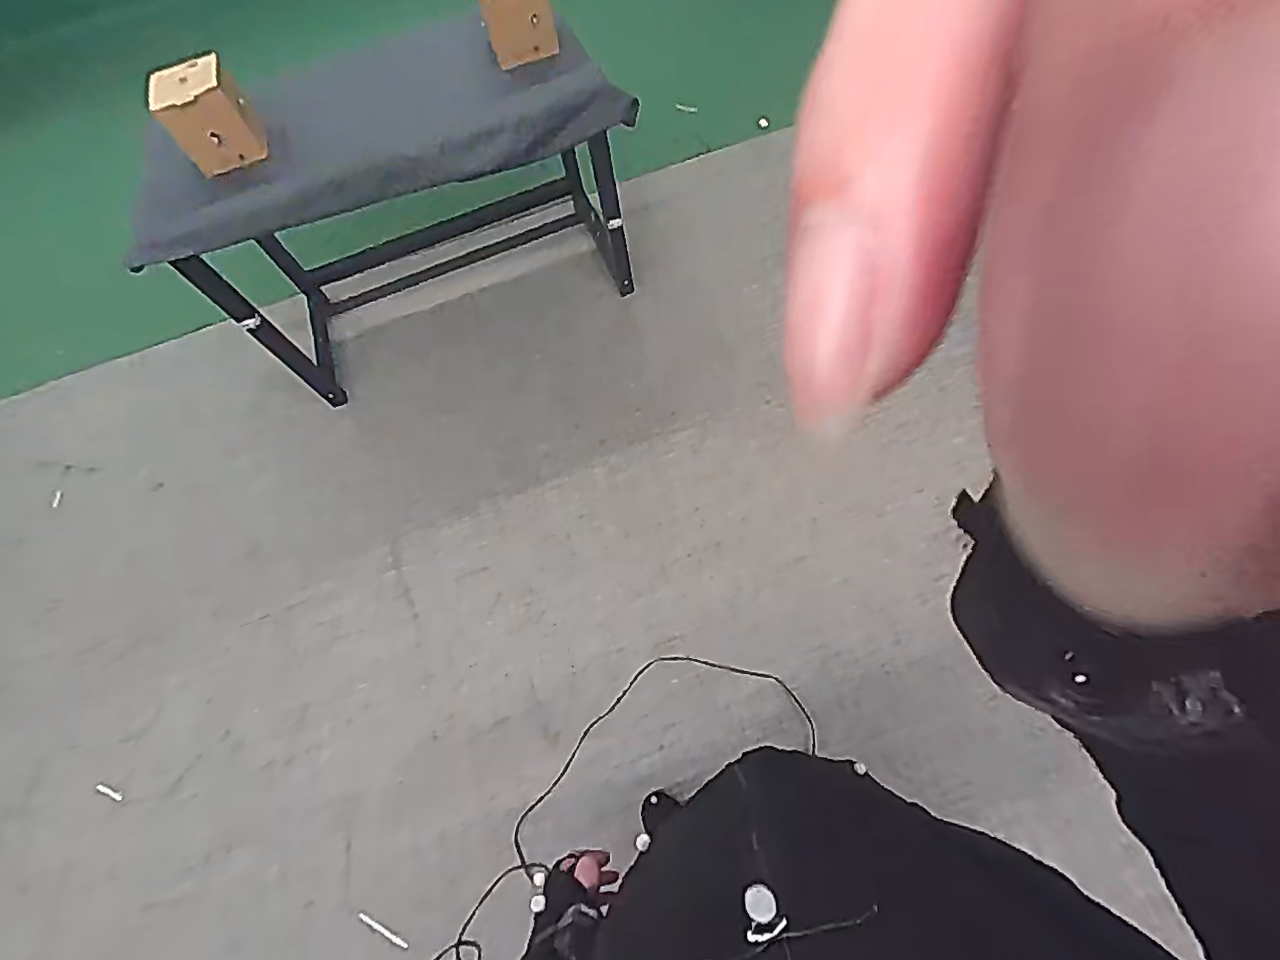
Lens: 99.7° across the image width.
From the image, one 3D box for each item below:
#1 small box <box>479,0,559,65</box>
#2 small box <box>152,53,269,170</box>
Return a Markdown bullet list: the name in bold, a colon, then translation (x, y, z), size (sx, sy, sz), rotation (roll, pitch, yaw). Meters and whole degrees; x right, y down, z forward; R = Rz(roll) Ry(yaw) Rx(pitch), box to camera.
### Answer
- **small box**: translation (-0.323, -1.222, 1.408), size (0.168, 0.176, 0.179), rotation (-19, 63, -3)
- **small box**: translation (-1.066, -0.910, 1.353), size (0.168, 0.176, 0.179), rotation (-23, 65, -5)
